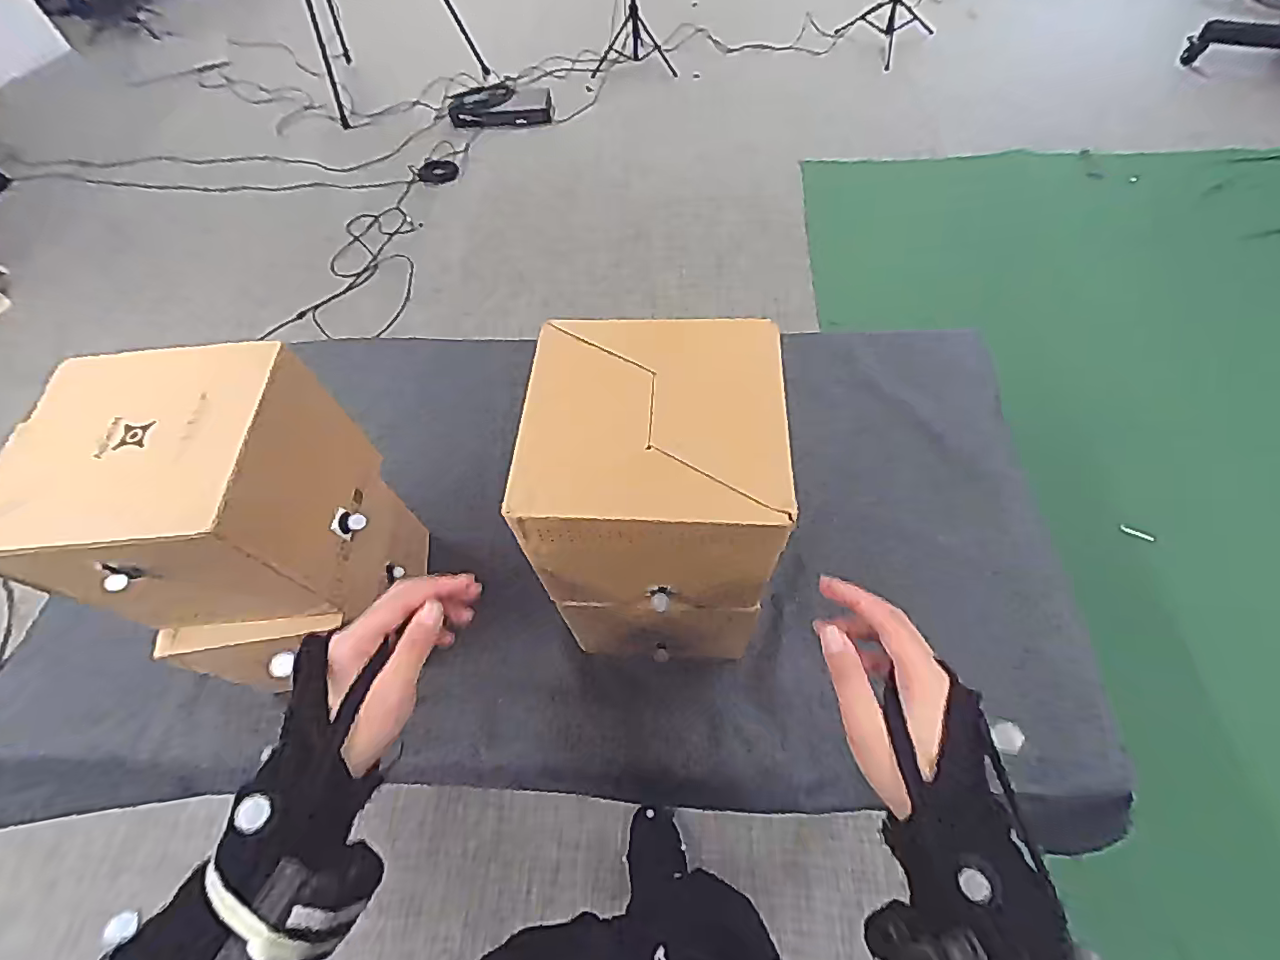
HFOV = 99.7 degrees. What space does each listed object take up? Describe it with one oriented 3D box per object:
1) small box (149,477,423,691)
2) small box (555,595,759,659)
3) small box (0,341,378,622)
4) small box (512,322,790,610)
[{"bbox_3d":[-0.344,0.109,0.572,0.168,0.176,0.179,-8,59,-2],"label":"small box"},{"bbox_3d":[0.020,0.084,0.565,0.179,0.176,0.168,1,59,3],"label":"small box"},{"bbox_3d":[-0.349,0.011,0.441,0.179,0.176,0.168,-4,60,0],"label":"small box"},{"bbox_3d":[0.008,-0.006,0.424,0.179,0.176,0.168,1,59,5],"label":"small box"}]
